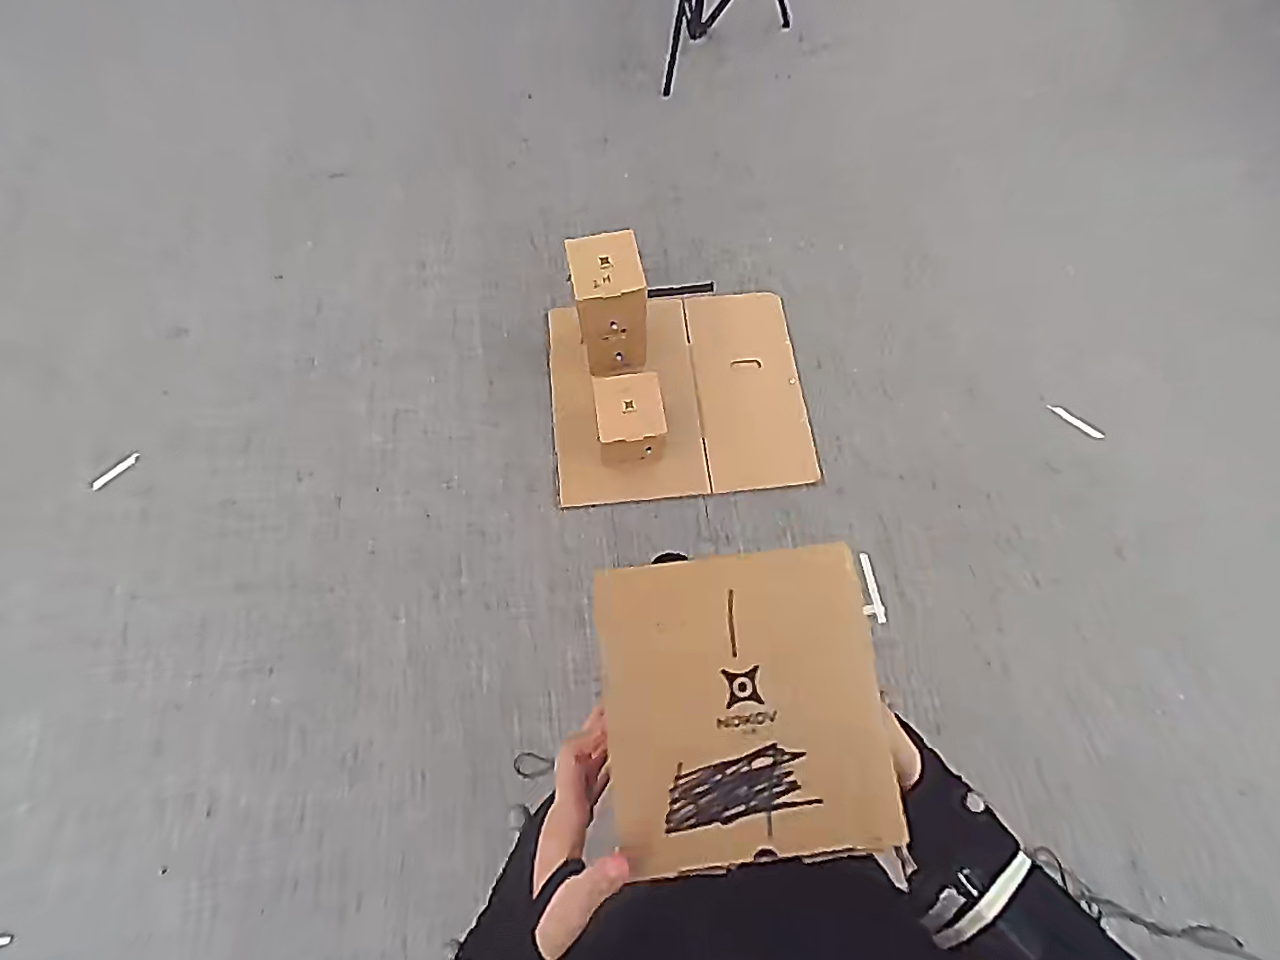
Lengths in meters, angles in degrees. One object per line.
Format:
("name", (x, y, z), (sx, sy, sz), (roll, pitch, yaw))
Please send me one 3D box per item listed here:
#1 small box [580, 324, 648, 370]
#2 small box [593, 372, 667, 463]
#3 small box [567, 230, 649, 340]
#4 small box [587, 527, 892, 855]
("small box", (-0.075, -0.416, 1.472), (0.168, 0.176, 0.179), (-12, 73, -5))
("small box", (-0.025, -0.151, 1.387), (0.168, 0.176, 0.179), (-8, 71, -4))
("small box", (-0.077, -0.469, 1.316), (0.168, 0.176, 0.179), (-11, 72, -3))
("small box", (0.057, 0.137, 0.404), (0.168, 0.176, 0.179), (-7, 78, -1))
